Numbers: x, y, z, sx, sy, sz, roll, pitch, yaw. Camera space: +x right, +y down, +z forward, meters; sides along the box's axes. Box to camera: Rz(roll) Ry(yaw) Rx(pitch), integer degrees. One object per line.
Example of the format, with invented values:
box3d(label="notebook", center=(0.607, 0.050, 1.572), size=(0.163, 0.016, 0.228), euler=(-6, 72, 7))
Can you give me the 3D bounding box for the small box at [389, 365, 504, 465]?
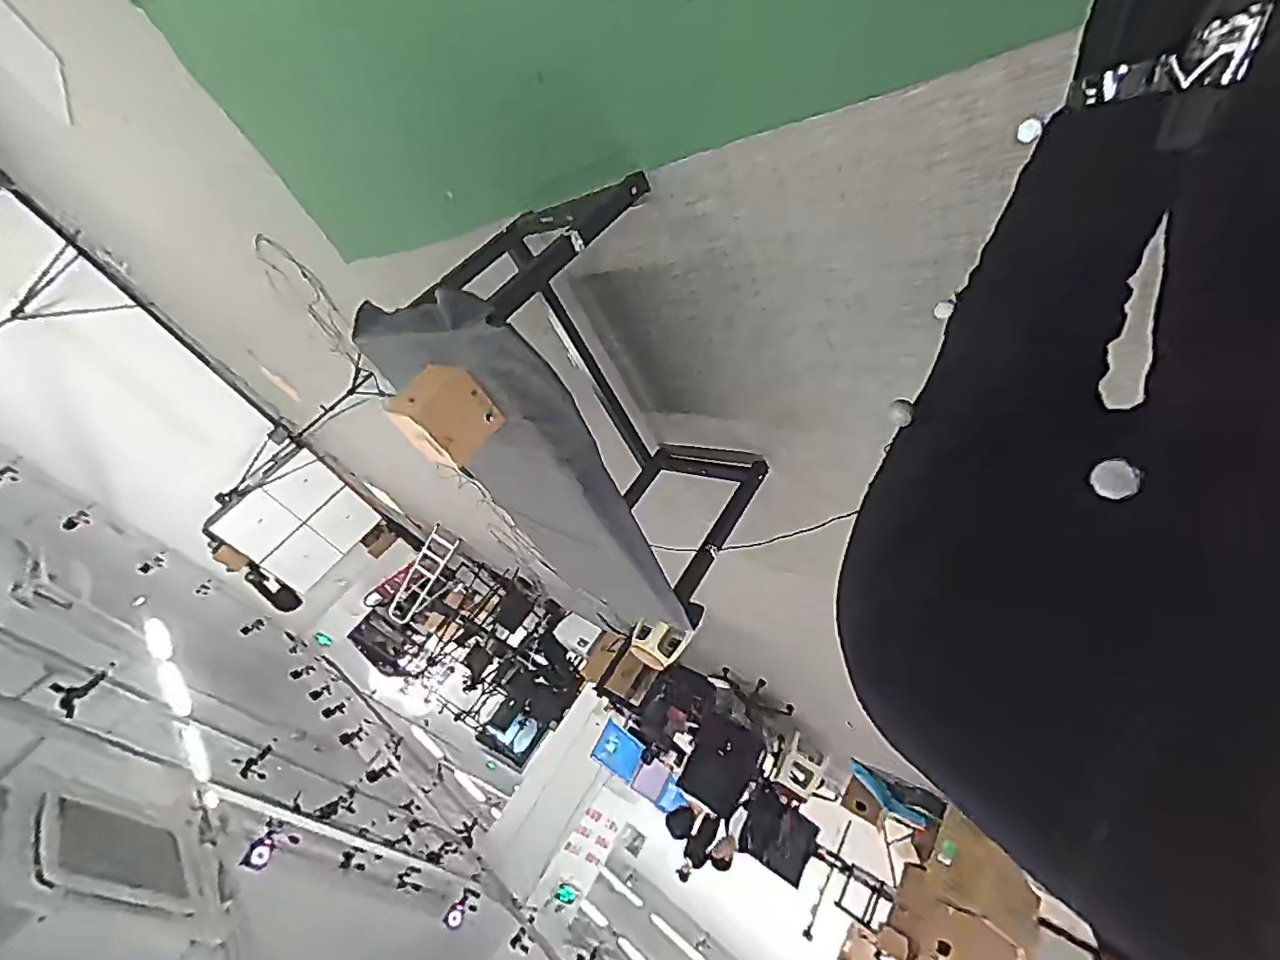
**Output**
box3d(label="small box", center=(-0.455, -0.161, 1.298), size=(0.179, 0.176, 0.168), euler=(14, 147, 43))
